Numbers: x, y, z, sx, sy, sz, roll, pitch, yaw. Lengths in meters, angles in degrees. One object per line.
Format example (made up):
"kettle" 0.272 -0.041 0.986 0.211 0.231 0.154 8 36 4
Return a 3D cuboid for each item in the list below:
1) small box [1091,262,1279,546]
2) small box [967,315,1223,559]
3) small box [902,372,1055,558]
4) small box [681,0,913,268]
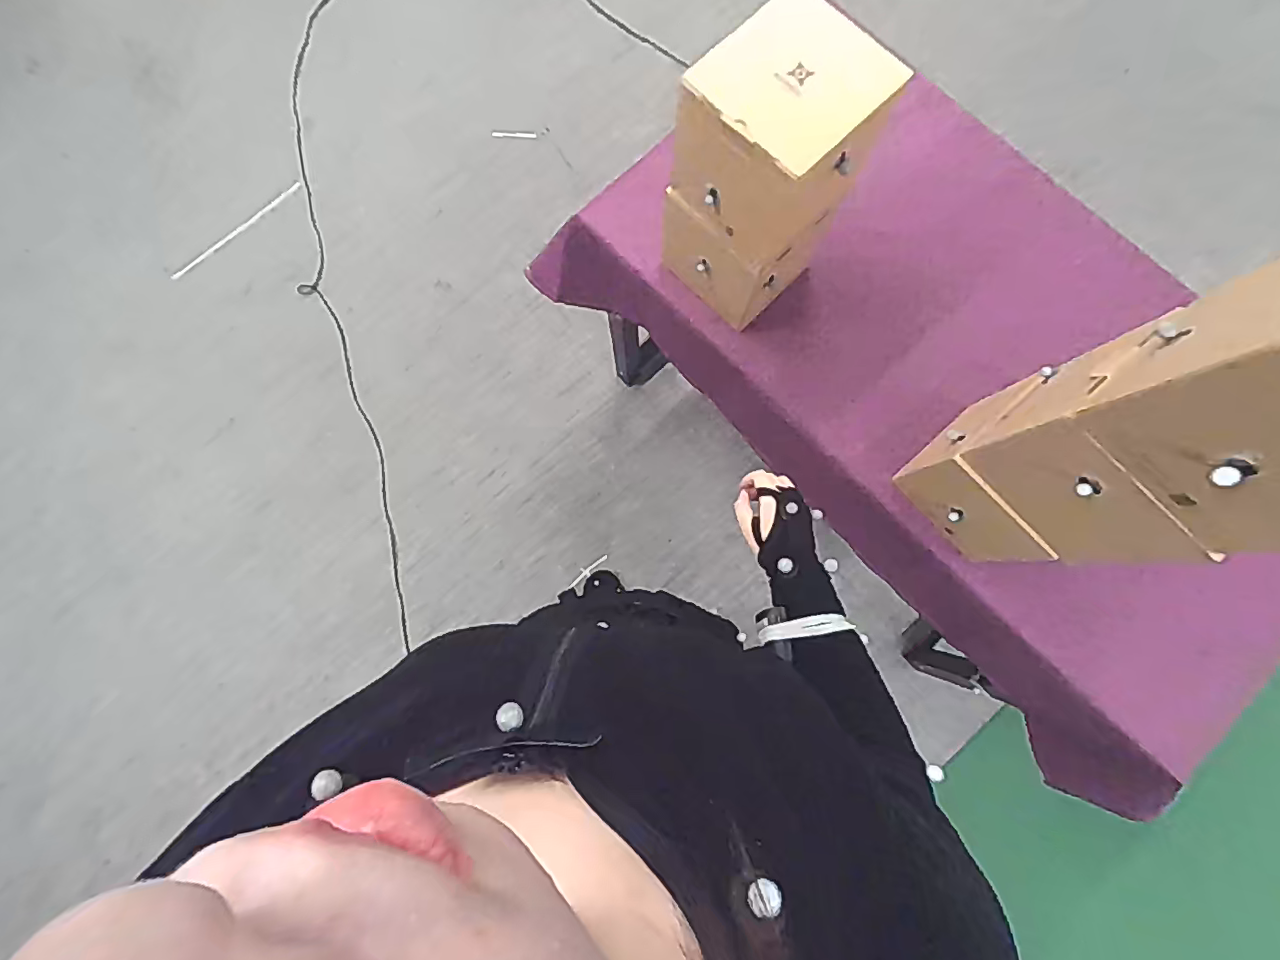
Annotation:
"small box" 0.504 -0.063 0.409 0.179 0.176 0.168 -40 83 -5
"small box" 0.499 -0.030 0.570 0.168 0.176 0.179 -40 84 -6
"small box" 0.491 -0.008 0.733 0.179 0.176 0.168 -41 83 -6
"small box" 0.163 -0.392 0.629 0.179 0.176 0.168 -44 83 -6
